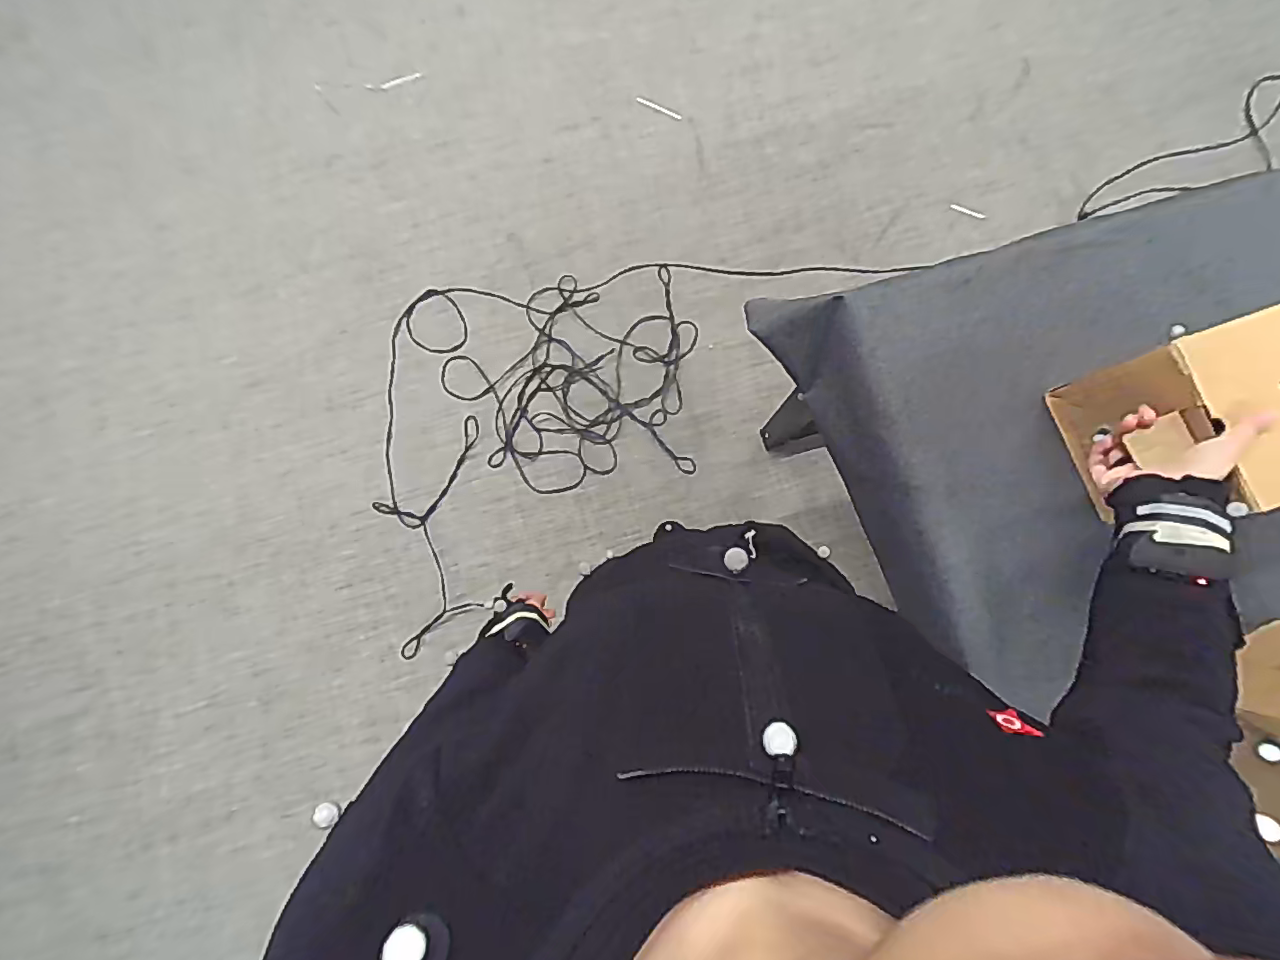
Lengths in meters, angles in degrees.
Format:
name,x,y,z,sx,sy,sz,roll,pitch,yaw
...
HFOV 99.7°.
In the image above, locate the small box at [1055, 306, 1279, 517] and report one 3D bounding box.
name,x,y,z,sx,sy,sz,roll,pitch,yaw
small box,0.586,-0.067,0.548,0.179,0.176,0.168,-20,83,-1
